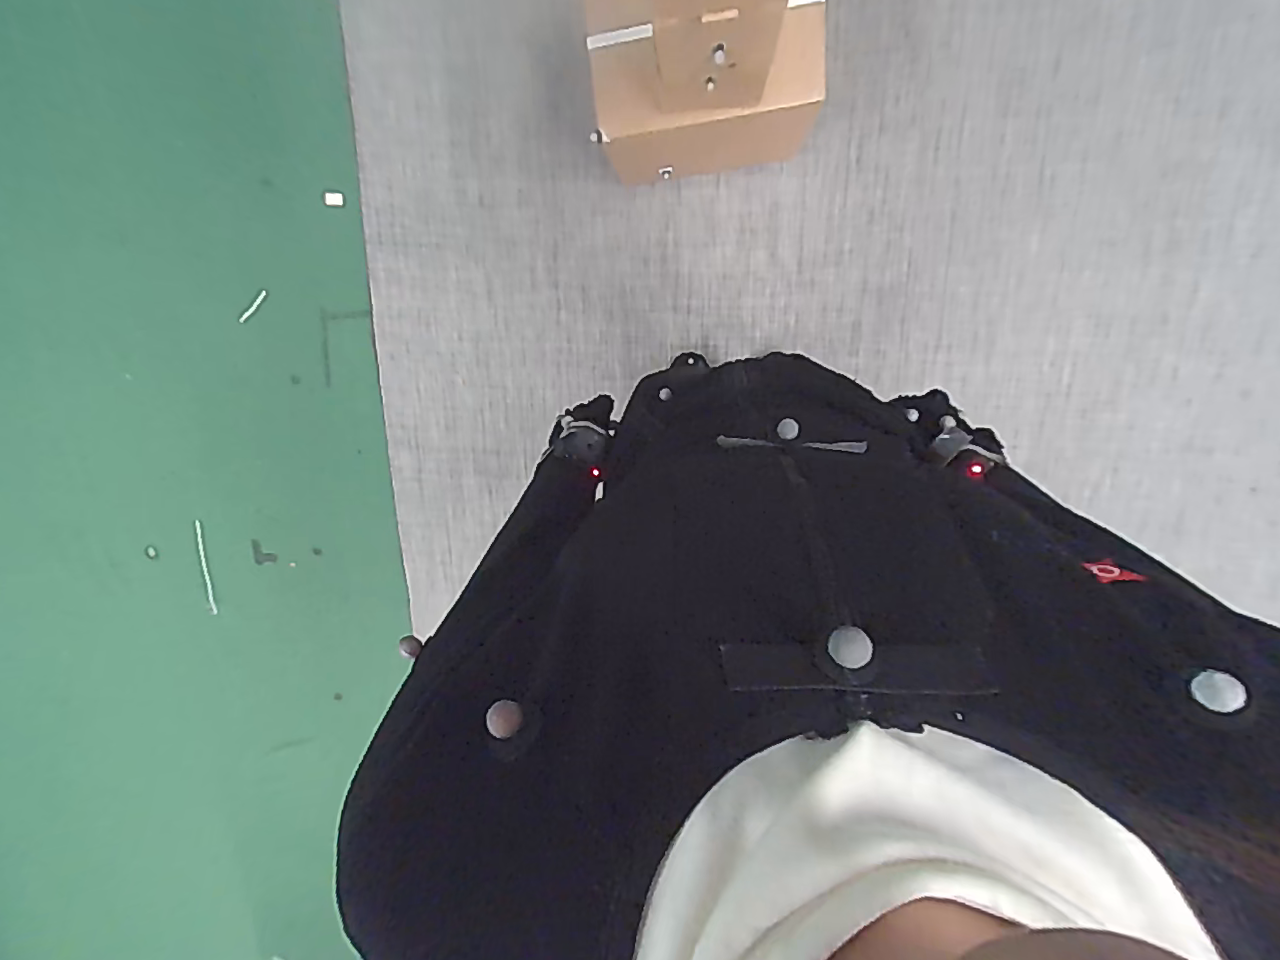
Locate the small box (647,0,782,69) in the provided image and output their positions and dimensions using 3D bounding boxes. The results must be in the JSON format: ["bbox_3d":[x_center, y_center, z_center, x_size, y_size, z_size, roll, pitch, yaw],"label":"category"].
[{"bbox_3d":[0.095,-0.669,0.701,0.168,0.176,0.179,-3,107,8],"label":"small box"}]

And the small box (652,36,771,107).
[{"bbox_3d":[0.110,-0.718,0.856,0.179,0.176,0.168,-2,106,6],"label":"small box"}]

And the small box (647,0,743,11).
[{"bbox_3d":[0.080,-0.621,0.544,0.179,0.176,0.168,-1,106,9],"label":"small box"}]
